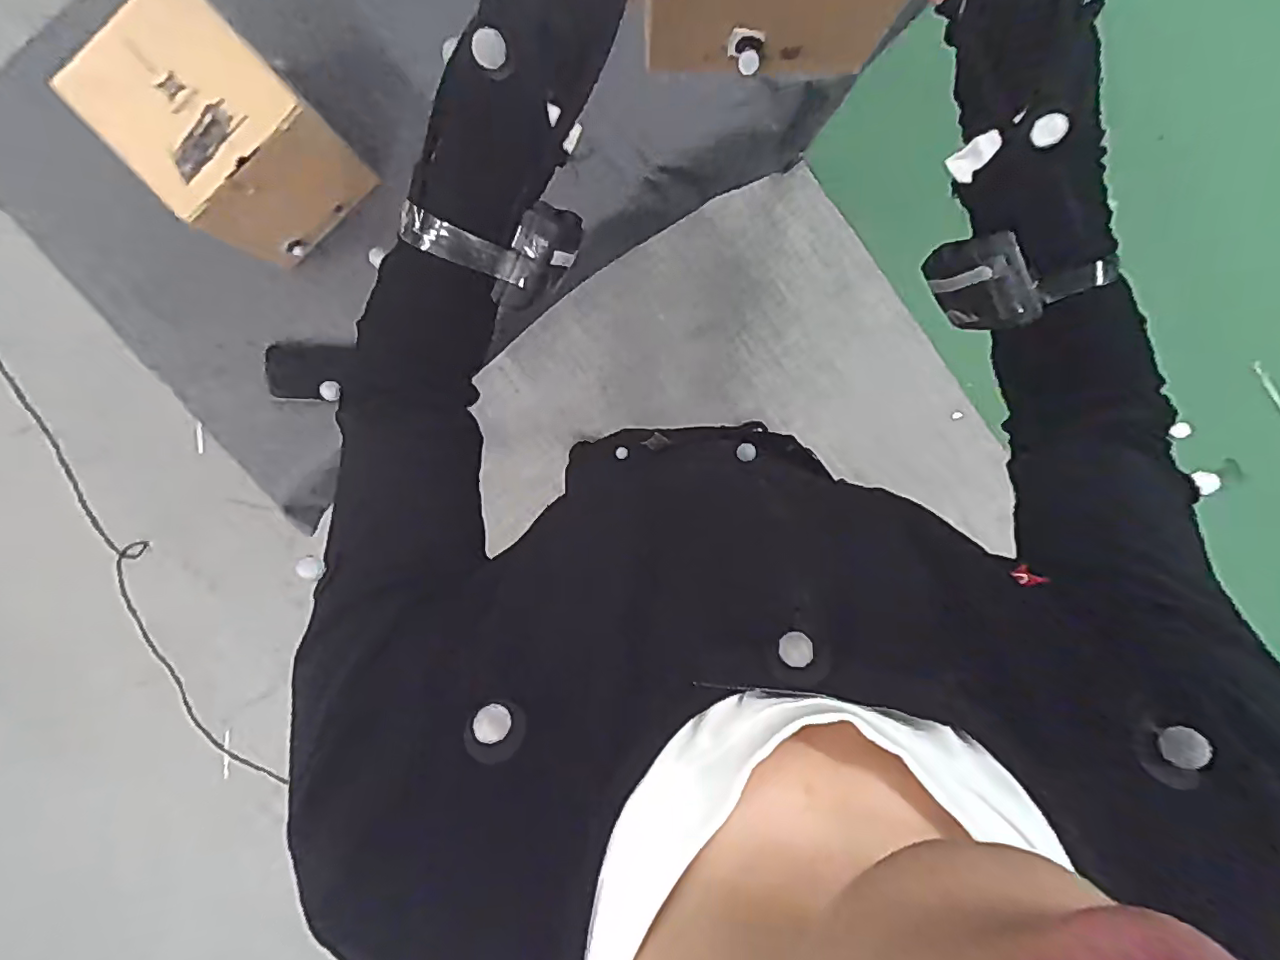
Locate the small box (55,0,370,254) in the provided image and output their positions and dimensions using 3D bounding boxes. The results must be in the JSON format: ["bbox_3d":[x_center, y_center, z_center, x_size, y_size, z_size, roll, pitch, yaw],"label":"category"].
[{"bbox_3d":[-0.446,-0.380,0.600,0.168,0.176,0.179,-42,94,3],"label":"small box"}]

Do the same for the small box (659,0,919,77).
[{"bbox_3d":[0.099,-0.388,0.325,0.168,0.176,0.179,-1,100,-2],"label":"small box"}]
